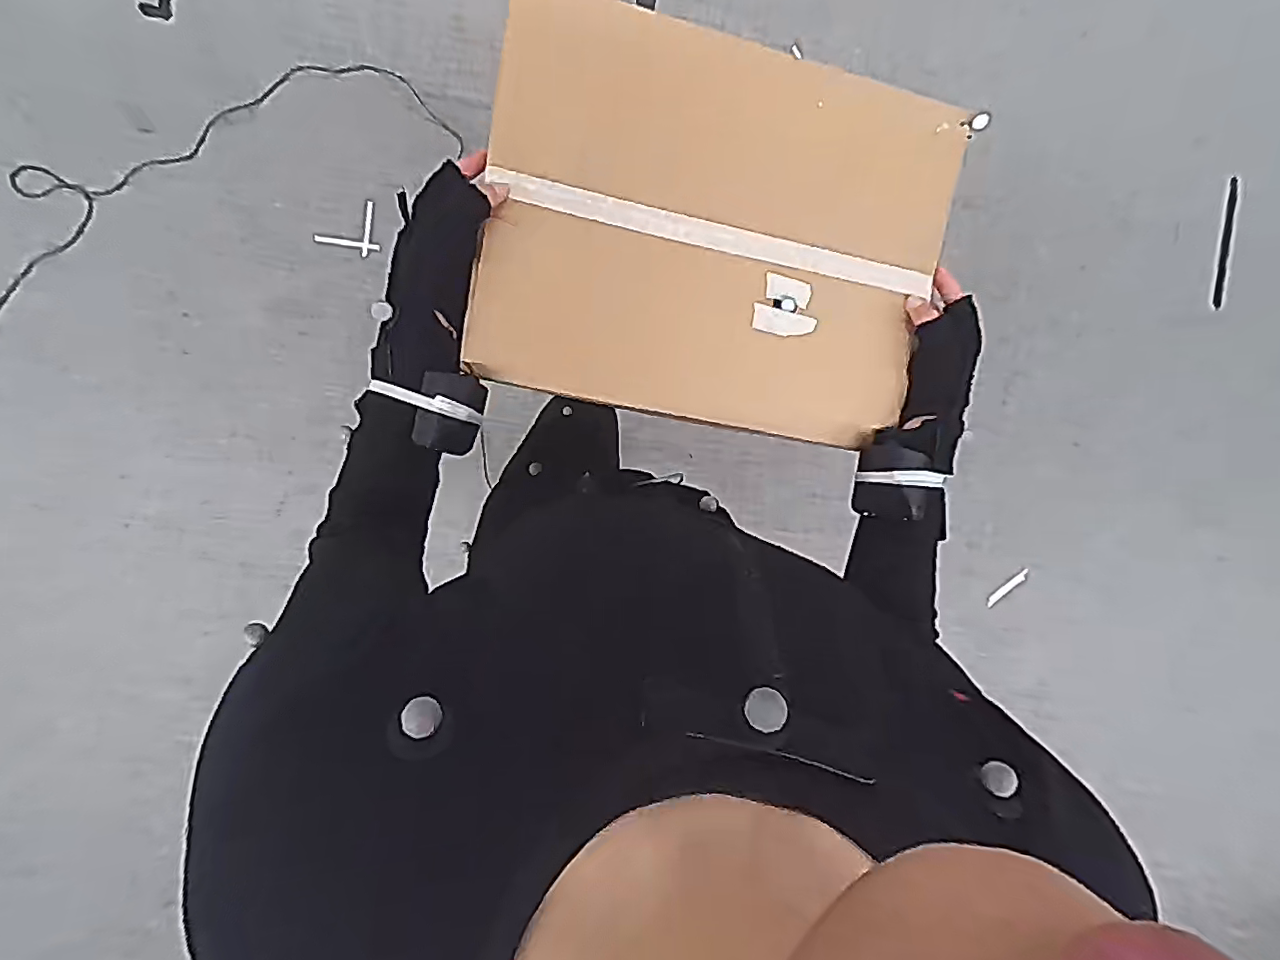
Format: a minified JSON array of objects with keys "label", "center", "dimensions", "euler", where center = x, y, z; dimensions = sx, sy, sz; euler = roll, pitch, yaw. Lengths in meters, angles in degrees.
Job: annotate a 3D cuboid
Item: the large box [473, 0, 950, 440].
[{"label":"large box","center":[0.046,-0.237,0.629],"dimensions":[0.408,0.320,0.320],"euler":[9,98,-10]}]
